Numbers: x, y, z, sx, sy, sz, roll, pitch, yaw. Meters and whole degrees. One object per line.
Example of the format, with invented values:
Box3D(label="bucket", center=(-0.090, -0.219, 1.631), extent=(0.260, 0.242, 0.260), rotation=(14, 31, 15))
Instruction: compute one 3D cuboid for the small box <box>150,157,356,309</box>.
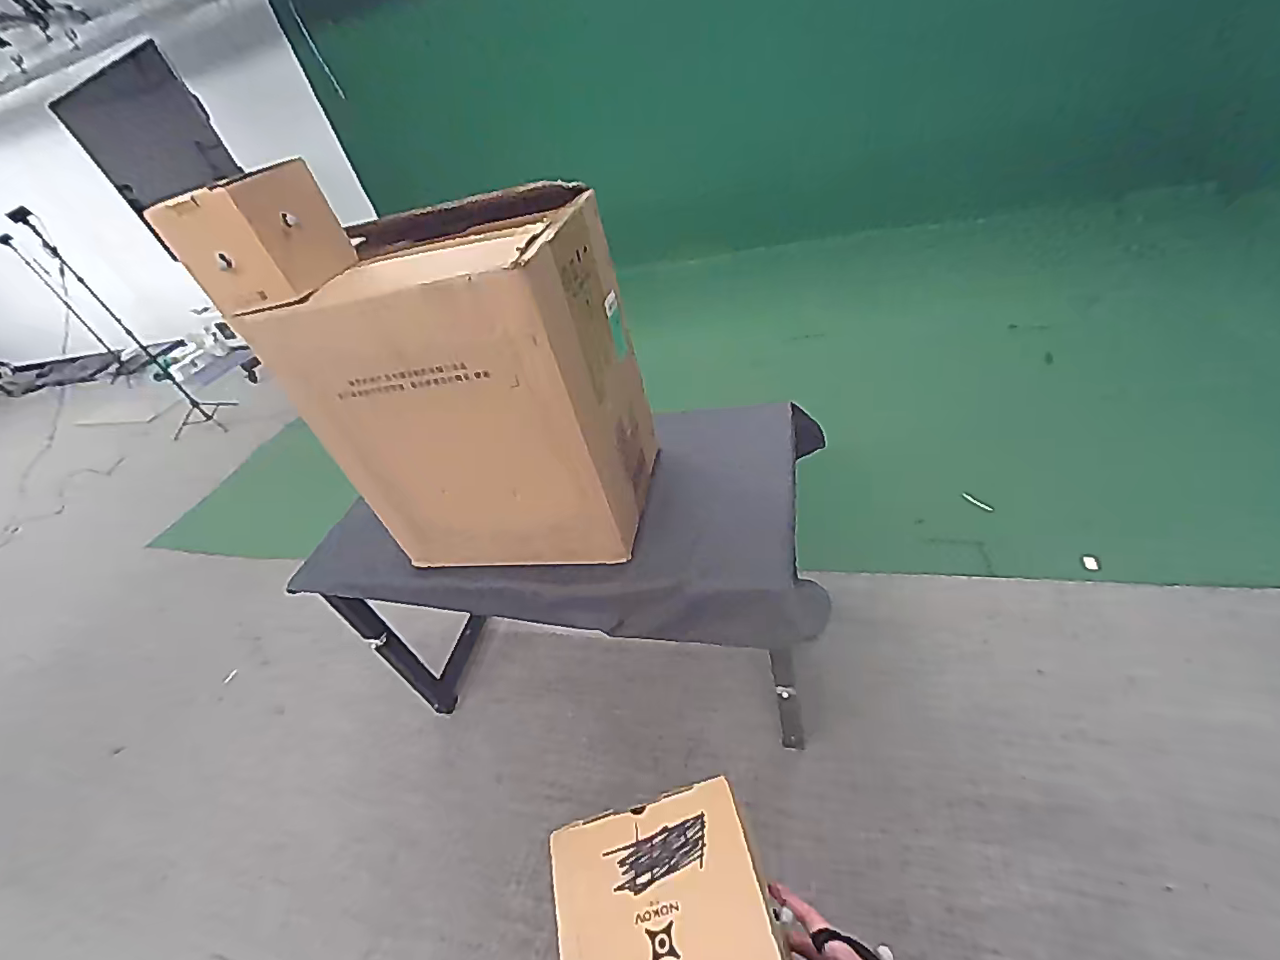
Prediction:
Box3D(label="small box", center=(-0.604, -0.389, 0.873), extent=(0.168, 0.176, 0.179), rotation=(-4, 42, 18))
